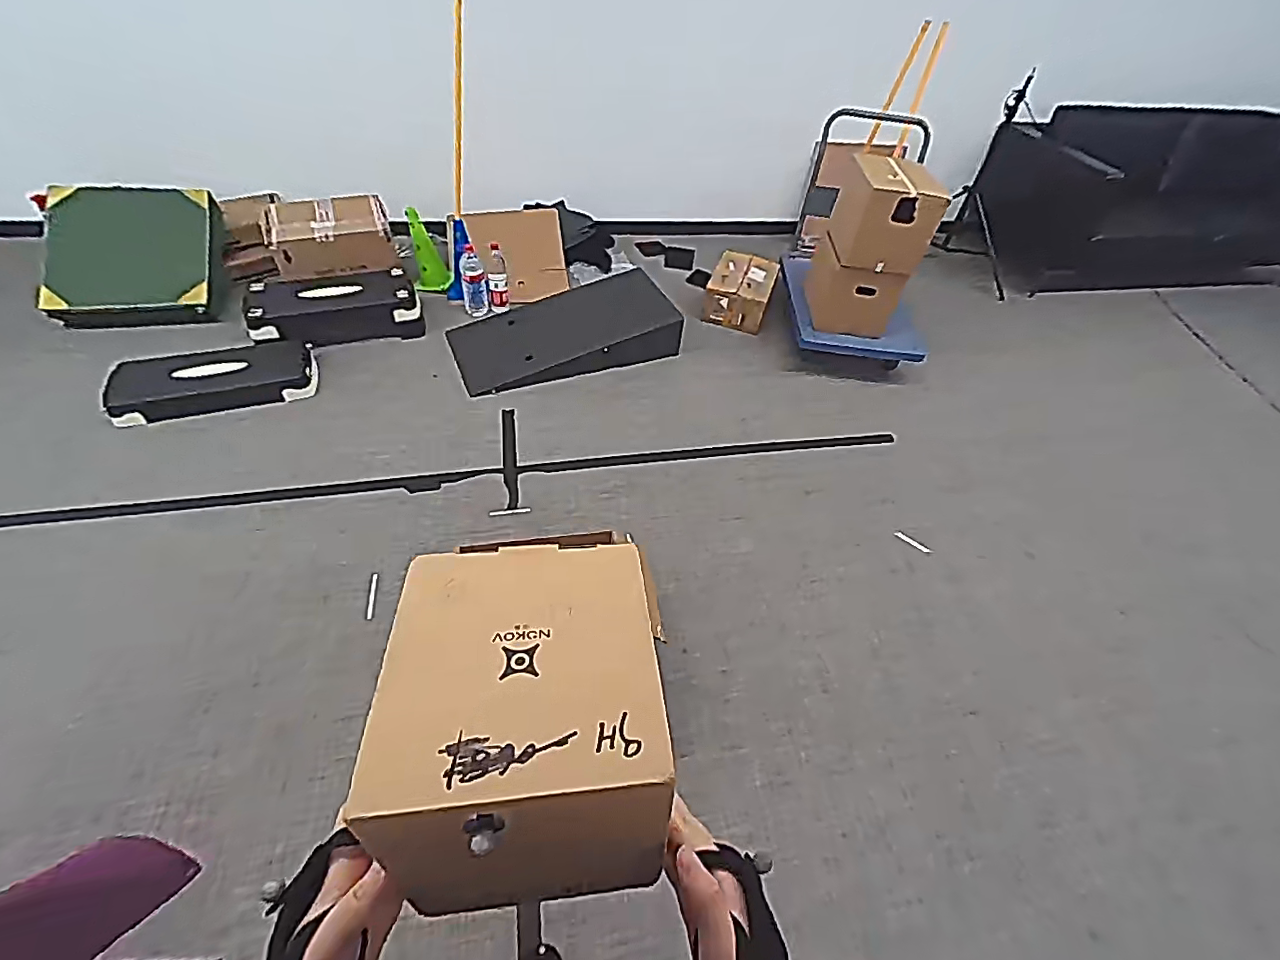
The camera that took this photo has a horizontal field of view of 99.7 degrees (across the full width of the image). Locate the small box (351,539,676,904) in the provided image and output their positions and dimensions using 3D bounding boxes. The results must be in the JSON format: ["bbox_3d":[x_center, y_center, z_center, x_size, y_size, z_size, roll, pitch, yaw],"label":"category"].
[{"bbox_3d":[-0.074,0.163,0.386,0.168,0.176,0.179,-2,38,-6],"label":"small box"}]
